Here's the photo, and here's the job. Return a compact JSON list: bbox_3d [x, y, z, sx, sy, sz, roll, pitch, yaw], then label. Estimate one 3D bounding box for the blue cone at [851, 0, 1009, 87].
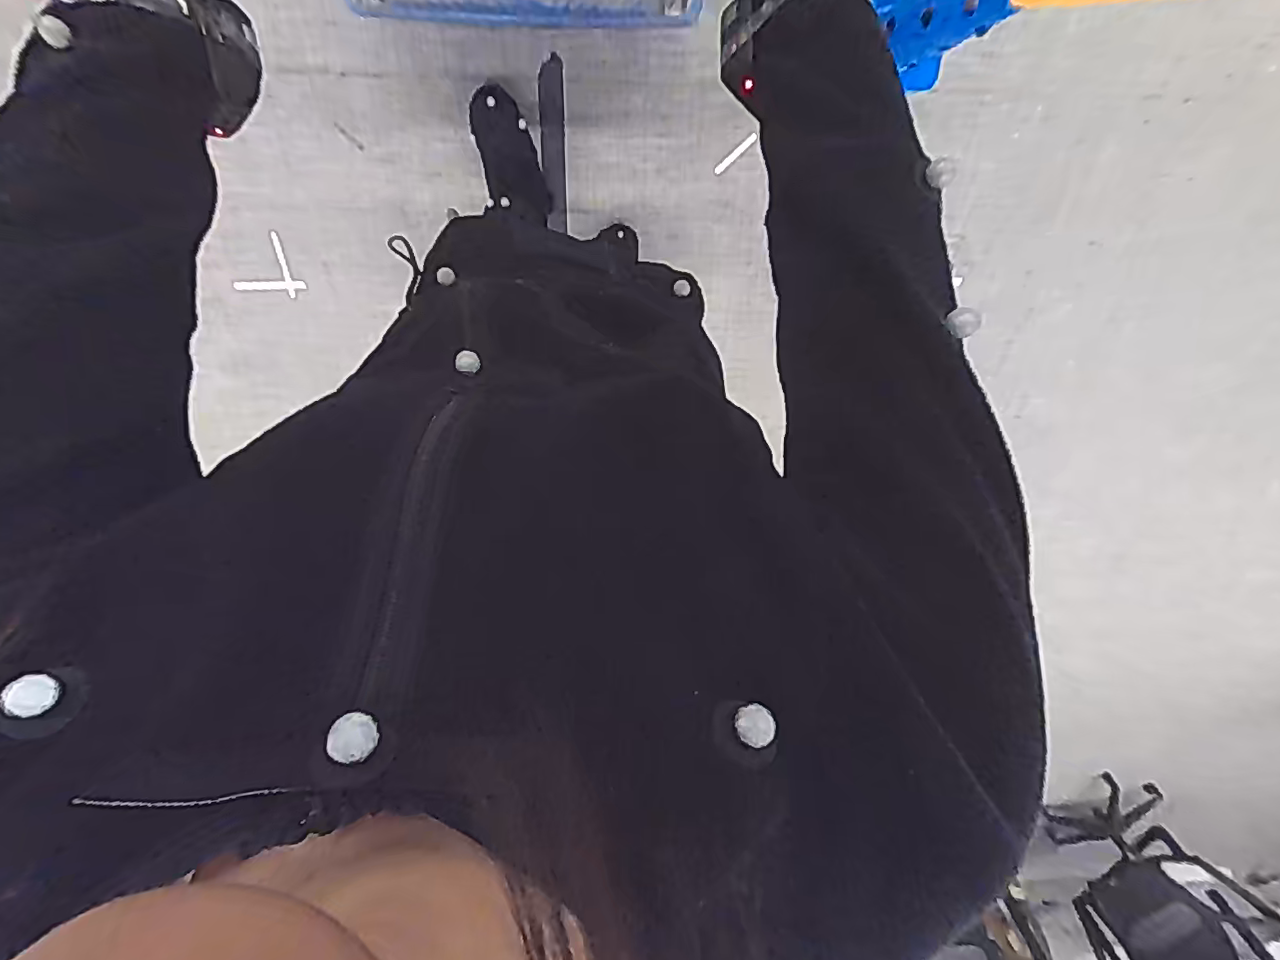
[{"bbox_3d":[0.529,-0.805,0.923,0.193,0.380,0.192,-5,123,-3],"label":"blue cone"}]
